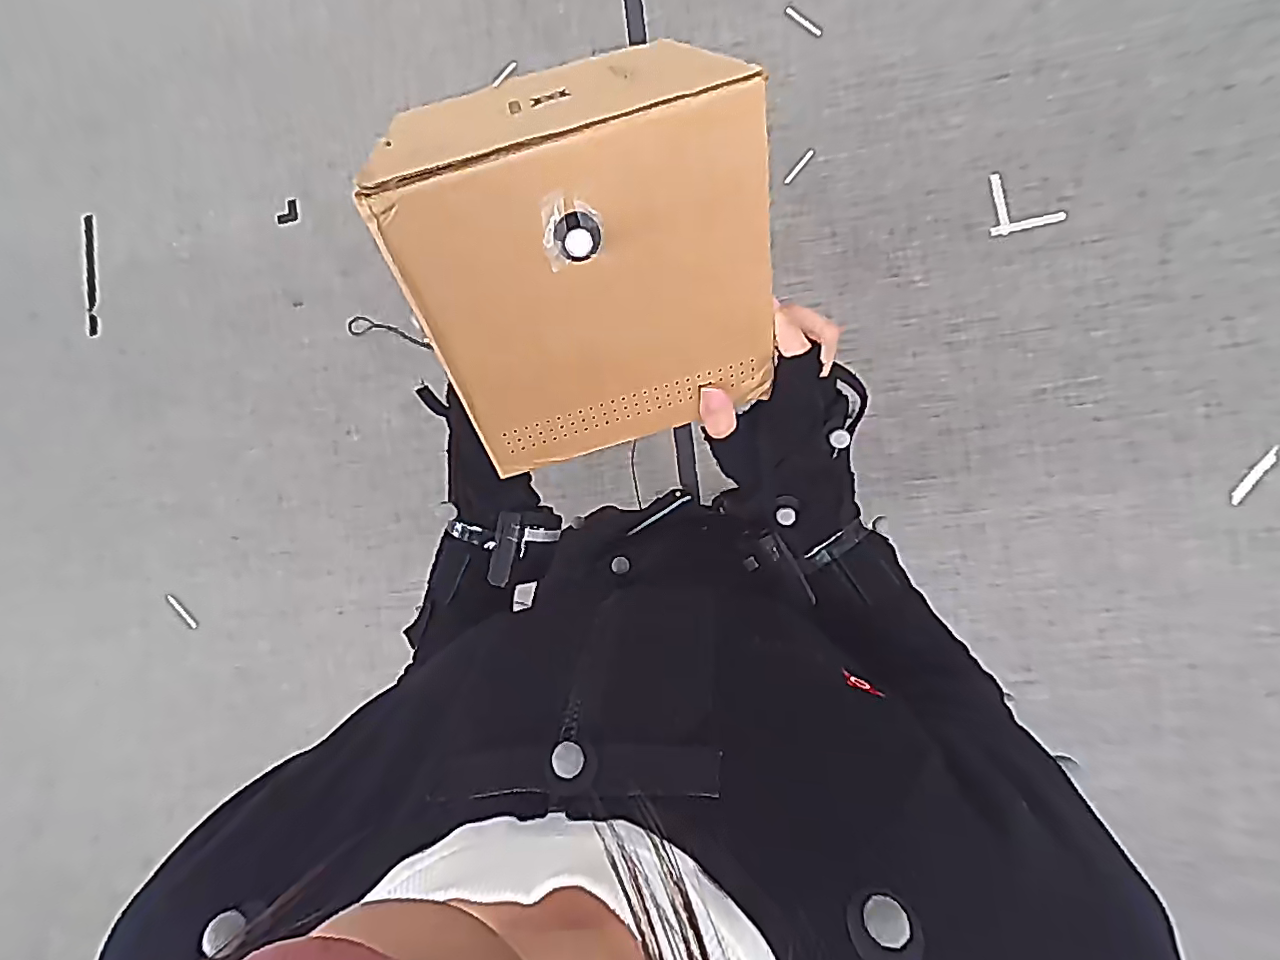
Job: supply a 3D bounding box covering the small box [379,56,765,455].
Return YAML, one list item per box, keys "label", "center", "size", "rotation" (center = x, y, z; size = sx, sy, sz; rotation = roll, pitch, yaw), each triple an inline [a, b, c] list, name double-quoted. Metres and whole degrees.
- label: "small box"
  center: [-0.031, -0.140, 0.347]
  size: [0.179, 0.176, 0.168]
  rotation: [-16, 44, -1]
